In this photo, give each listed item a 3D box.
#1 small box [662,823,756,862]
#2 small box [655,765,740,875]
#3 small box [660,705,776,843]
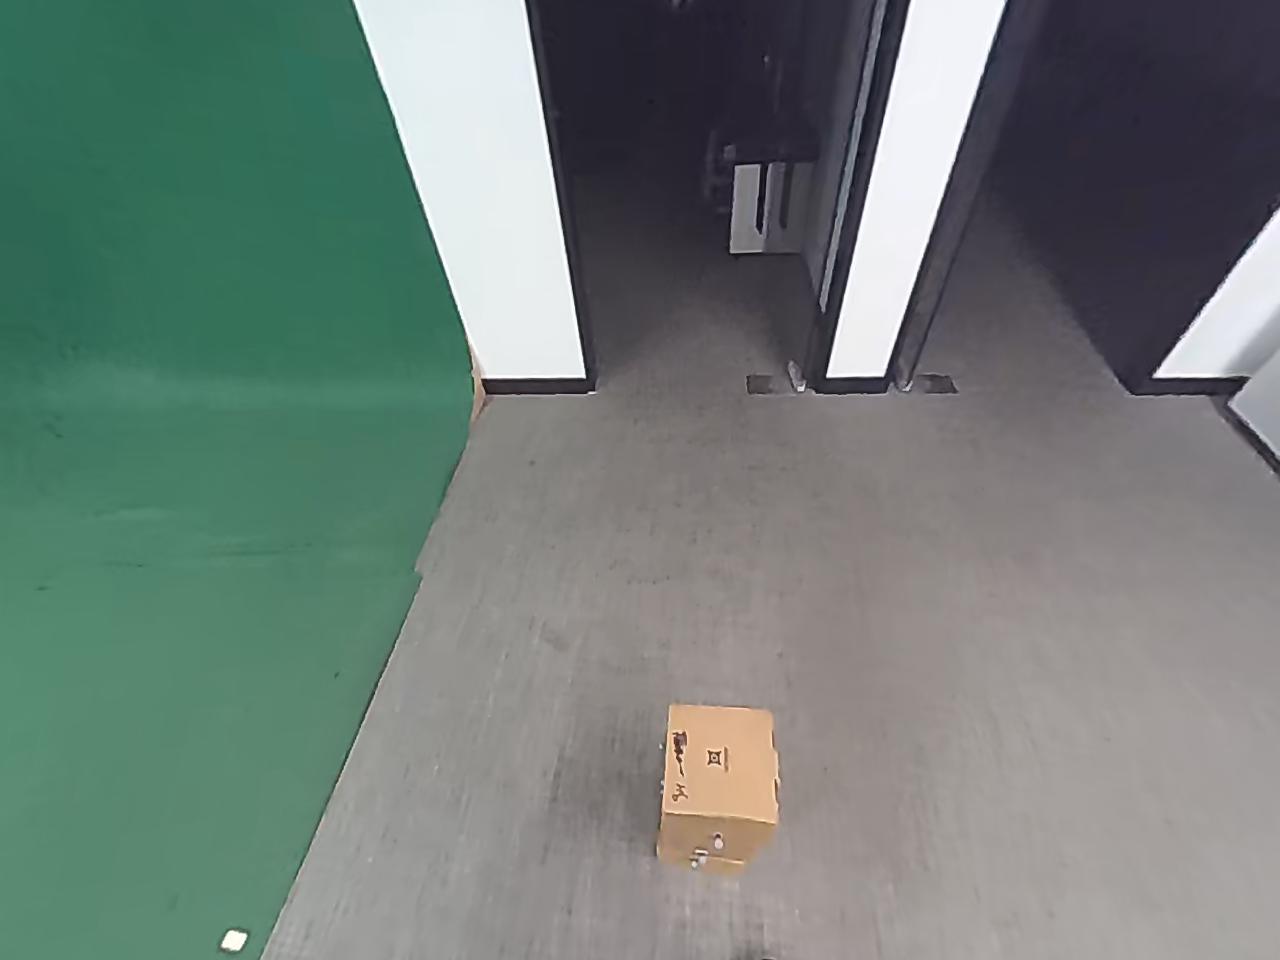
[{"bbox_3d":[0.134,0.615,1.048,0.168,0.176,0.179,1,47,8],"label":"small box"},{"bbox_3d":[0.131,0.729,1.162,0.179,0.176,0.168,4,47,8],"label":"small box"},{"bbox_3d":[0.131,0.505,0.926,0.179,0.176,0.168,2,46,7],"label":"small box"}]
